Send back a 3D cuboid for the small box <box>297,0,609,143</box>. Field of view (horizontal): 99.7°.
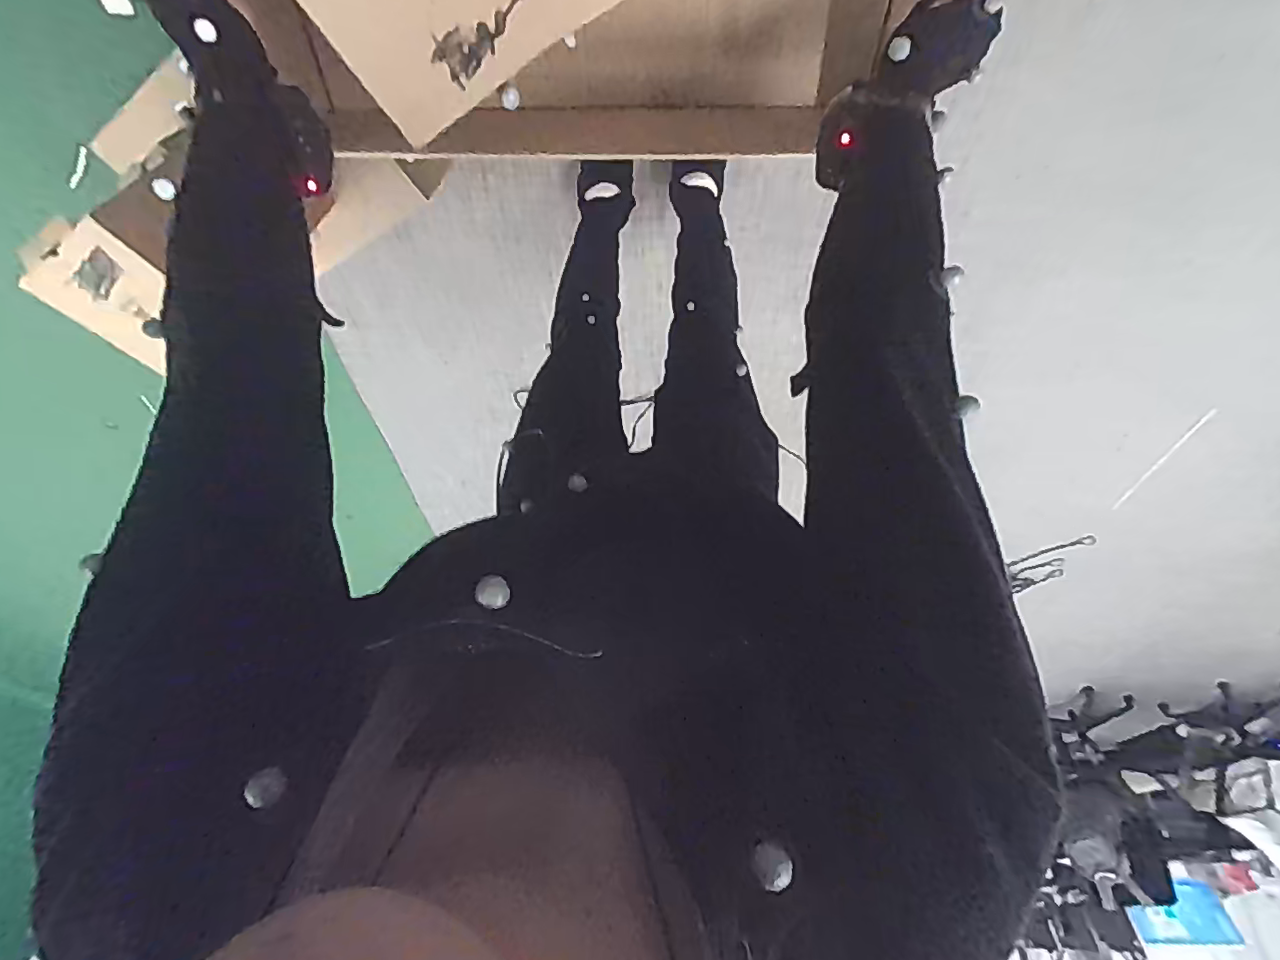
[{"bbox_3d":[-0.115,-0.344,0.313,0.168,0.176,0.179,-21,132,20],"label":"small box"}]

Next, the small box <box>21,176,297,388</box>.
[{"bbox_3d":[-0.600,-0.259,0.699,0.168,0.176,0.179,-18,137,22],"label":"small box"}]

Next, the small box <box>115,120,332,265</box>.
[{"bbox_3d":[-0.604,-0.391,0.797,0.168,0.176,0.179,-22,135,26],"label":"small box"}]
